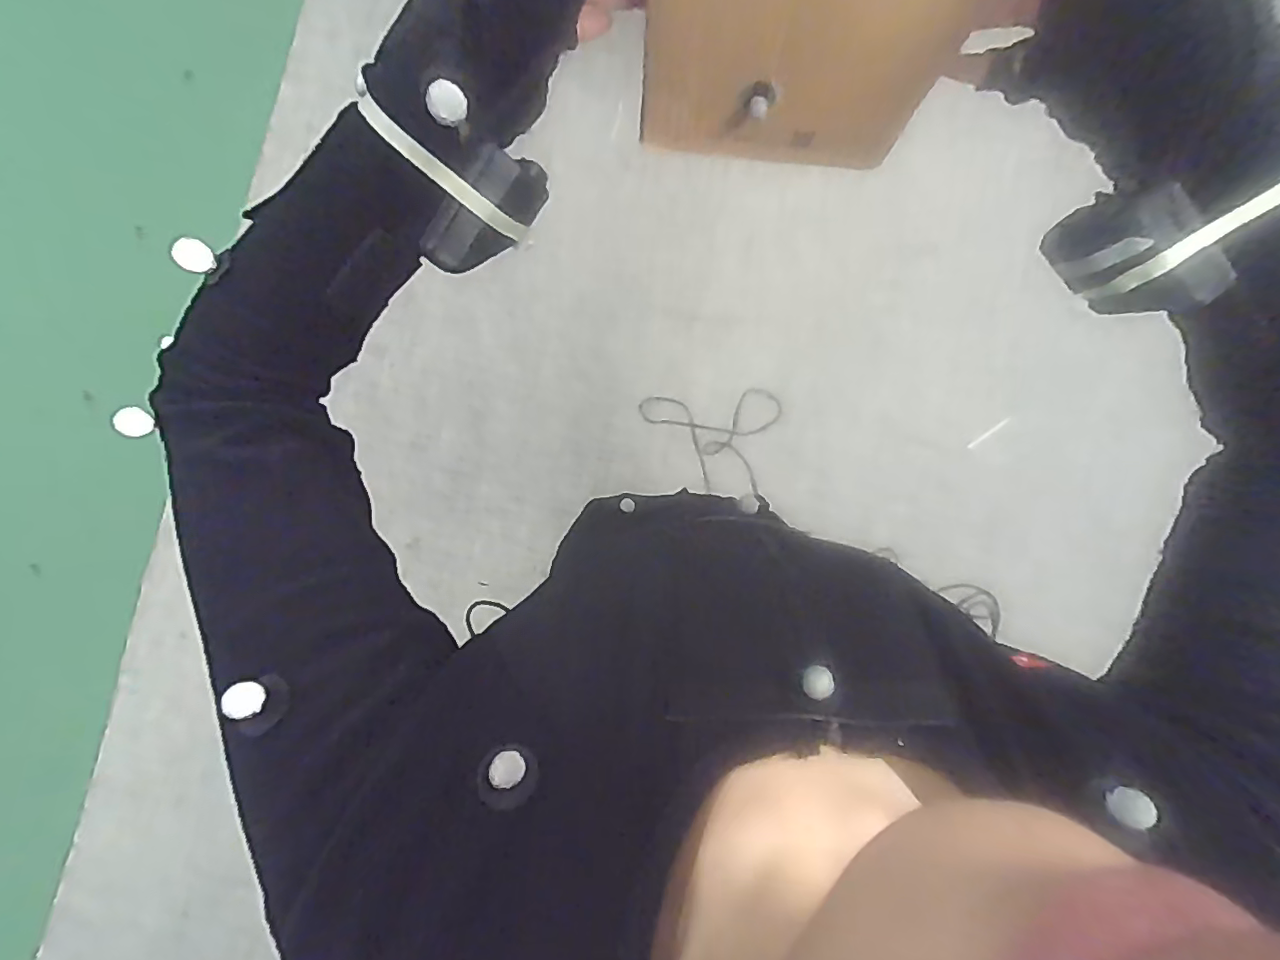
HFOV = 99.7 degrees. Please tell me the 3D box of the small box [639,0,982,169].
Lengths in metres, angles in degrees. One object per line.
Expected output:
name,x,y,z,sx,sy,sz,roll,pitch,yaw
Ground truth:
small box,0.088,-0.315,0.302,0.168,0.176,0.179,4,85,-1
